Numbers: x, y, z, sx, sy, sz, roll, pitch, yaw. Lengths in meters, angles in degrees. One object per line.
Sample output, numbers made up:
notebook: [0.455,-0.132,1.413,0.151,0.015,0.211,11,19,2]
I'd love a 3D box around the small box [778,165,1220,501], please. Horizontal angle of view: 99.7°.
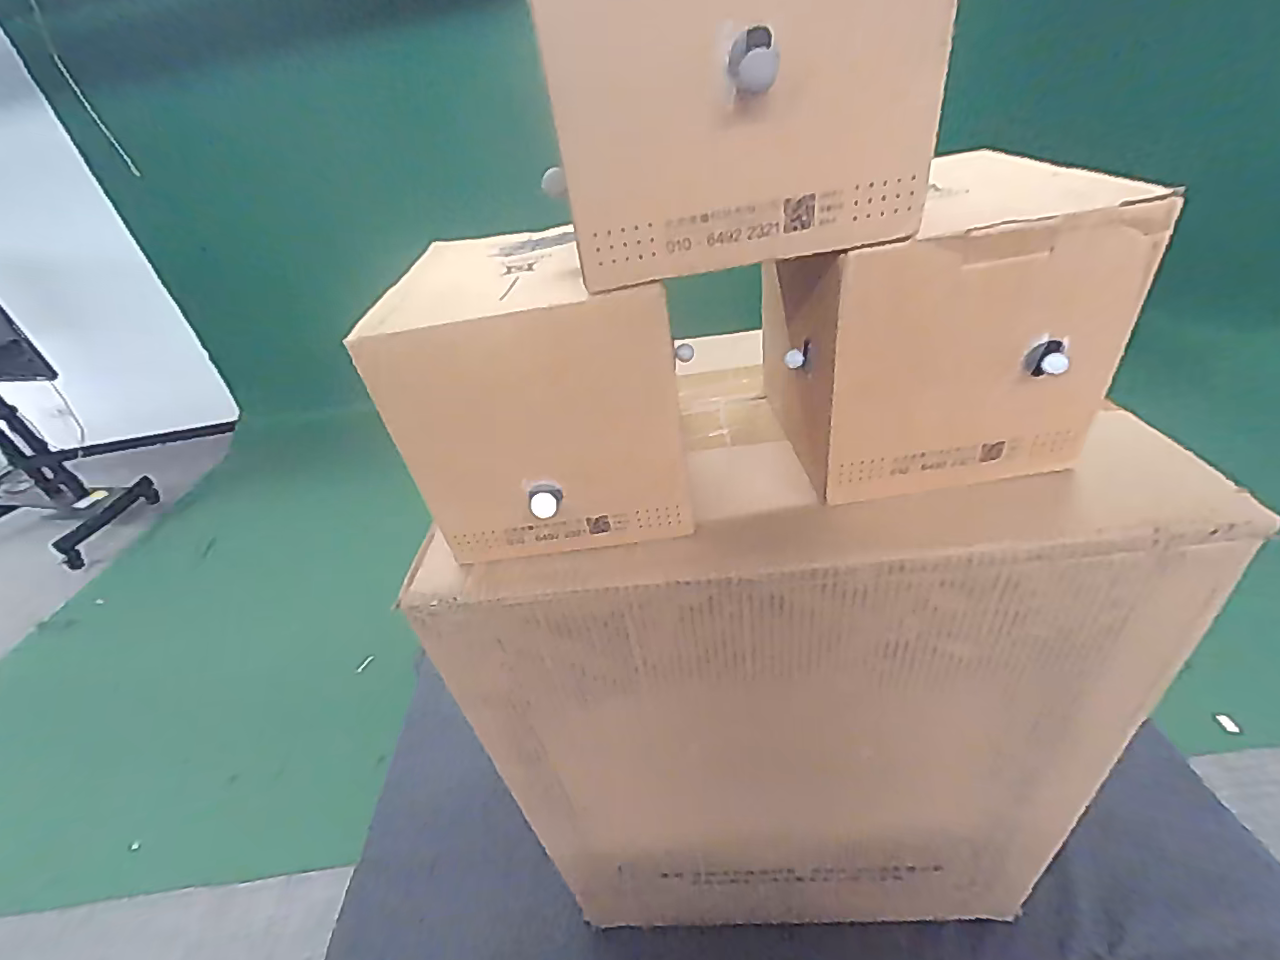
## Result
small box: [0.200,-0.098,0.371,0.168,0.176,0.179,-8,37,0]

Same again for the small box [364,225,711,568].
small box: [-0.043,-0.063,0.371,0.168,0.176,0.179,-6,38,7]
